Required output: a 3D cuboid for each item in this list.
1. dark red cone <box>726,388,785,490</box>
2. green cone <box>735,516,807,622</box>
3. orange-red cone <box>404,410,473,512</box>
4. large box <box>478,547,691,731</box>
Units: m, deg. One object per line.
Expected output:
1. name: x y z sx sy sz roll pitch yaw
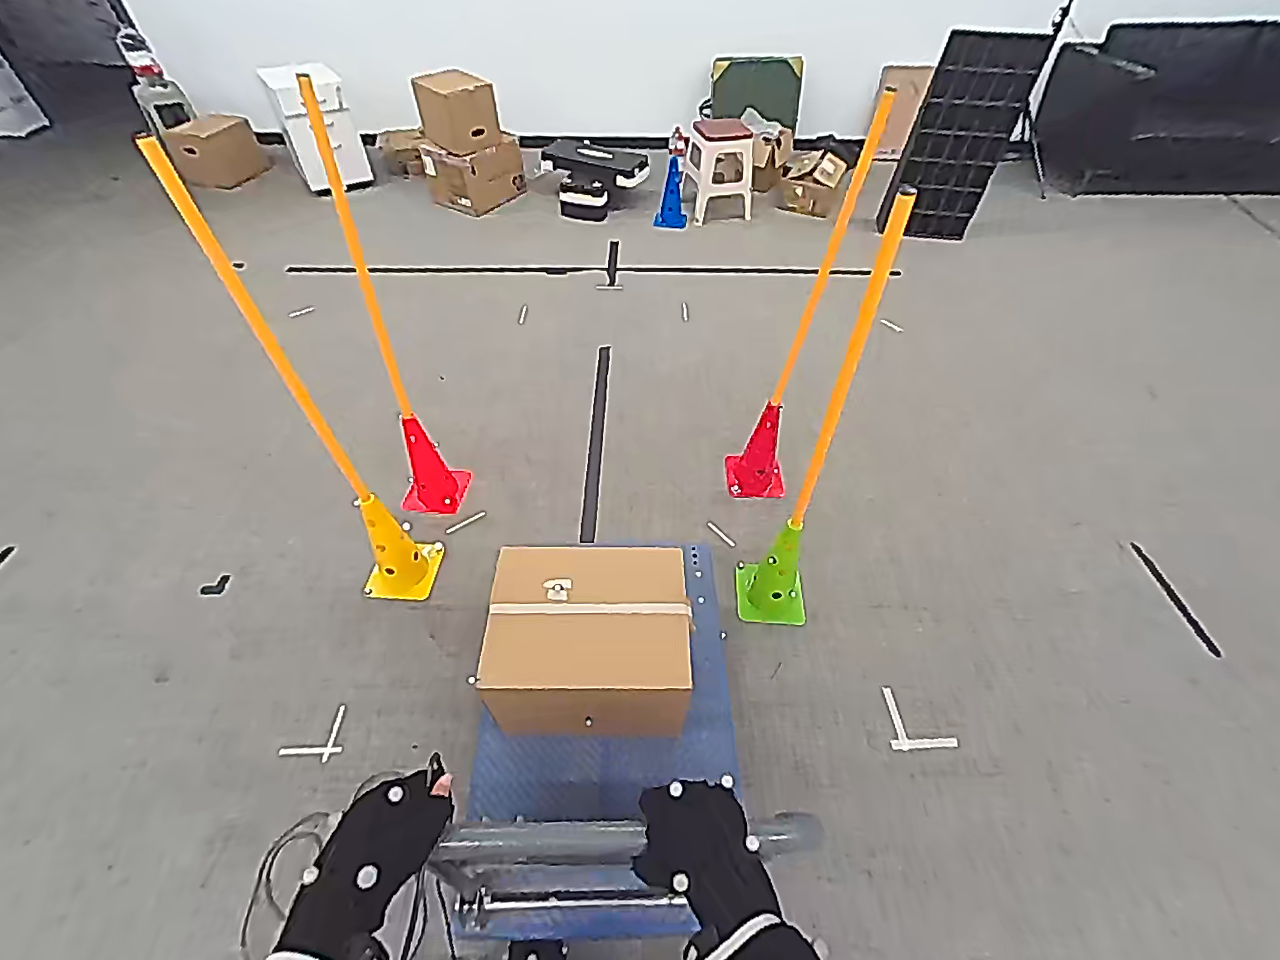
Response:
1. dark red cone: 0.426 -0.147 1.843 0.201 0.394 0.202 2 49 -2
2. green cone: 0.402 0.229 1.536 0.202 0.368 0.200 5 49 1
3. orange-red cone: -0.705 -0.087 1.789 0.198 0.360 0.199 7 48 4
4. large box: -0.104 0.363 1.216 0.408 0.320 0.320 0 49 0
